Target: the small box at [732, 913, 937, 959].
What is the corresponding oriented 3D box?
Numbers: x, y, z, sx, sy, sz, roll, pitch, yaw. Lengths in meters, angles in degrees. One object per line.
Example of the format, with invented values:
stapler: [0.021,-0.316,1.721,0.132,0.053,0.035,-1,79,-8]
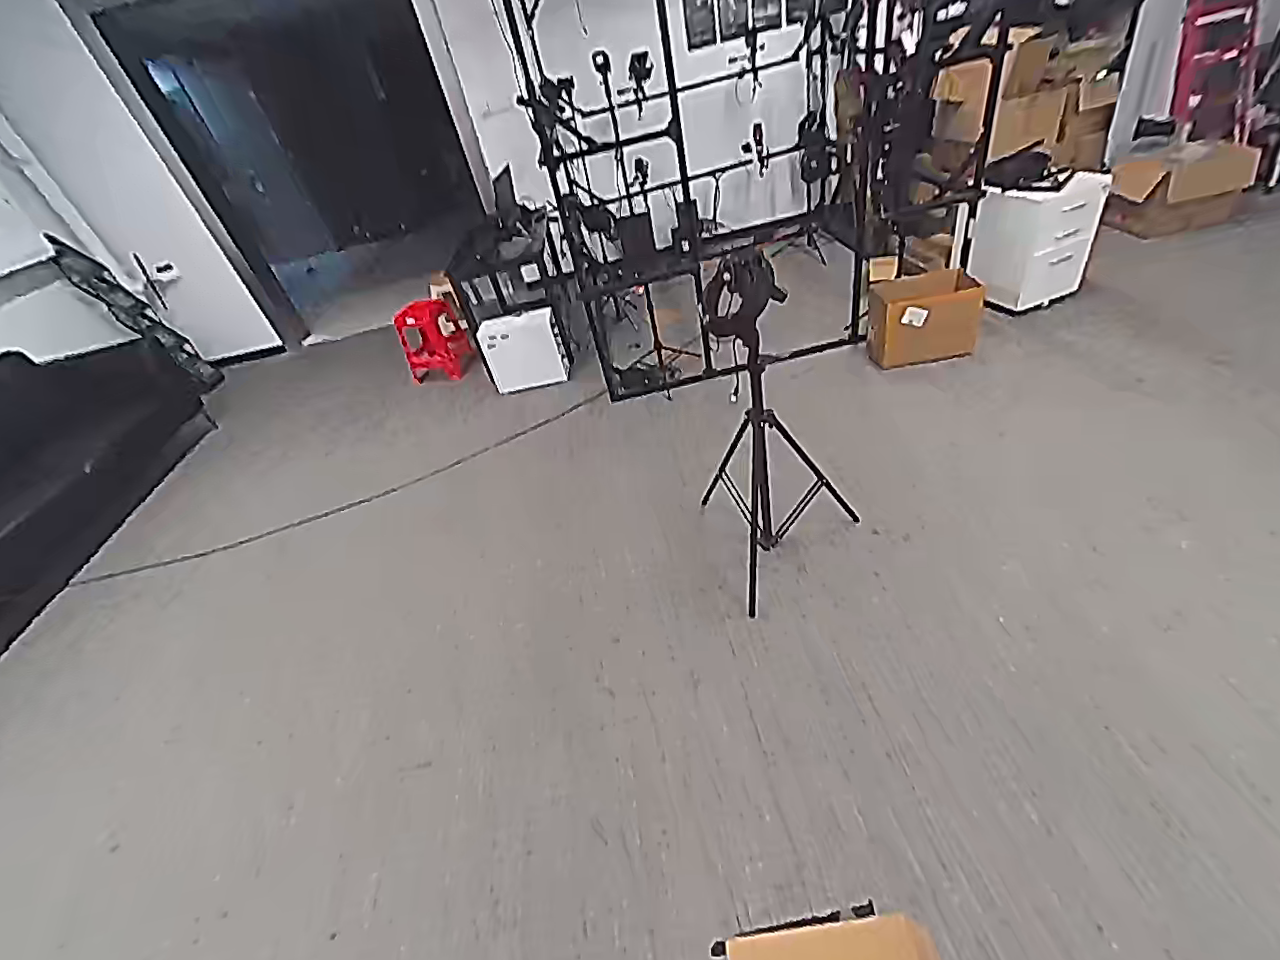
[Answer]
small box: [0.196,0.503,0.466,0.168,0.176,0.179,-22,43,15]
